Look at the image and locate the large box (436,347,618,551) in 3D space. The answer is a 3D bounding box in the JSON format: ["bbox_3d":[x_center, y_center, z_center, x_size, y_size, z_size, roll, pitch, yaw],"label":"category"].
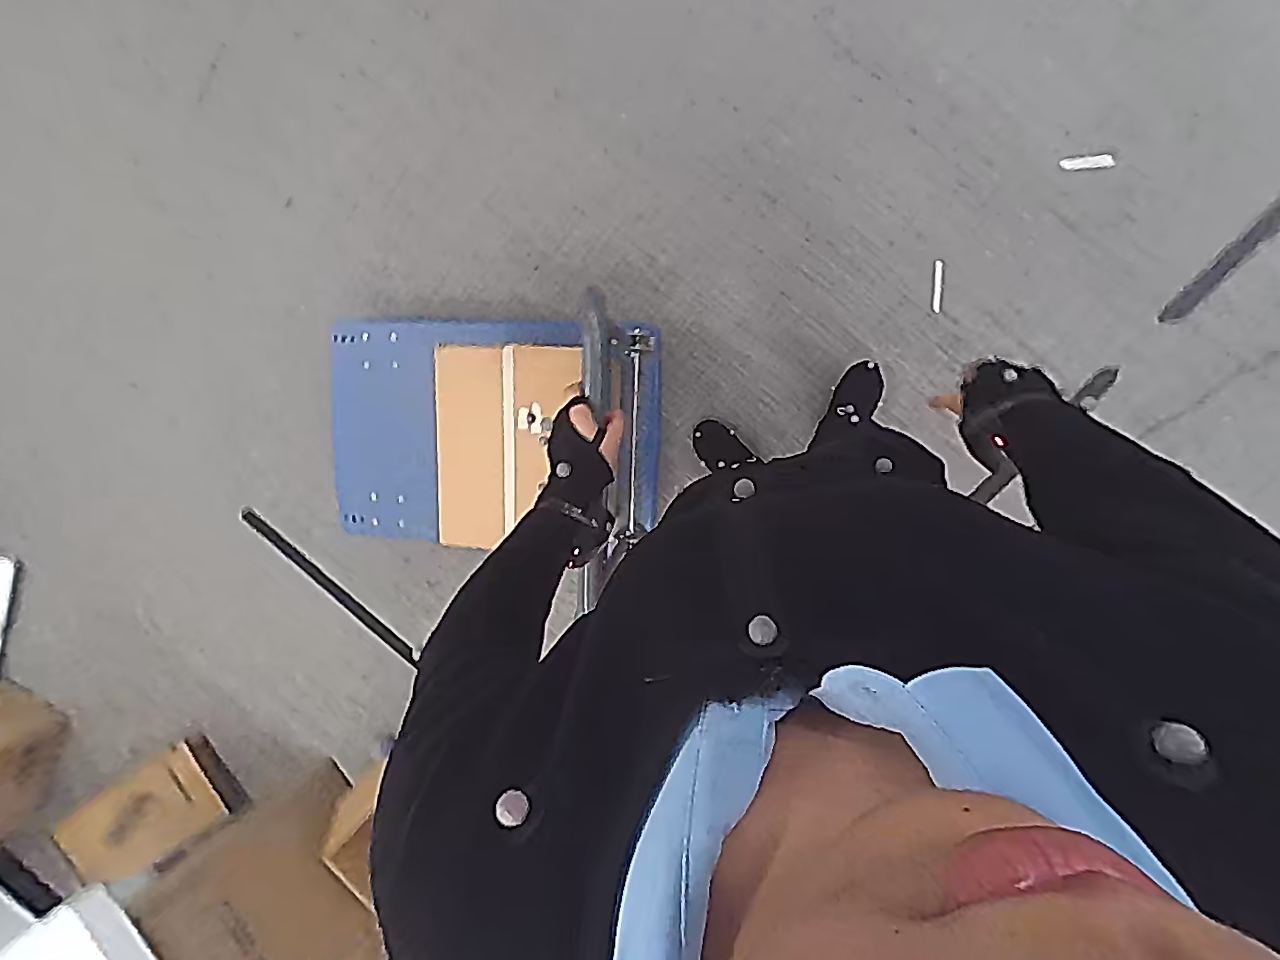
[{"bbox_3d":[-0.229,-0.076,1.214,0.320,0.320,0.408,2,98,8],"label":"large box"}]
